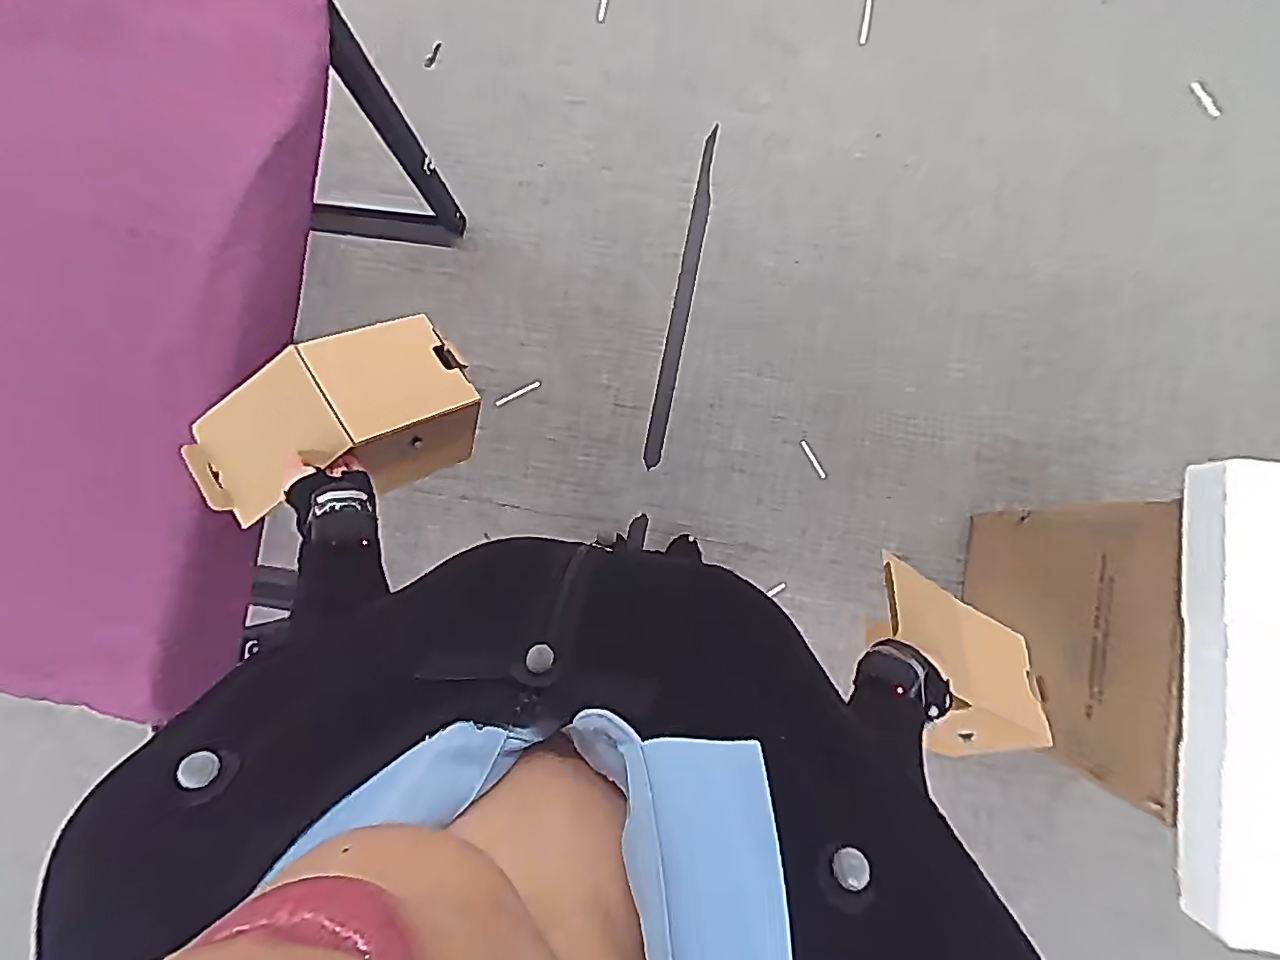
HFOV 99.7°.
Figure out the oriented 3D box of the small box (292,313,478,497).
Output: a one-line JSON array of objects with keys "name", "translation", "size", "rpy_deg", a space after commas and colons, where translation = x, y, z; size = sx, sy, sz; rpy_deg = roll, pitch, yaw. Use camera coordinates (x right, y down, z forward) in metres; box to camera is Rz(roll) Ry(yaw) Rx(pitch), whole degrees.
[{"name": "small box", "translation": [-0.353, -0.102, 0.769], "size": [0.179, 0.176, 0.168], "rpy_deg": [-28, 76, -33]}]
